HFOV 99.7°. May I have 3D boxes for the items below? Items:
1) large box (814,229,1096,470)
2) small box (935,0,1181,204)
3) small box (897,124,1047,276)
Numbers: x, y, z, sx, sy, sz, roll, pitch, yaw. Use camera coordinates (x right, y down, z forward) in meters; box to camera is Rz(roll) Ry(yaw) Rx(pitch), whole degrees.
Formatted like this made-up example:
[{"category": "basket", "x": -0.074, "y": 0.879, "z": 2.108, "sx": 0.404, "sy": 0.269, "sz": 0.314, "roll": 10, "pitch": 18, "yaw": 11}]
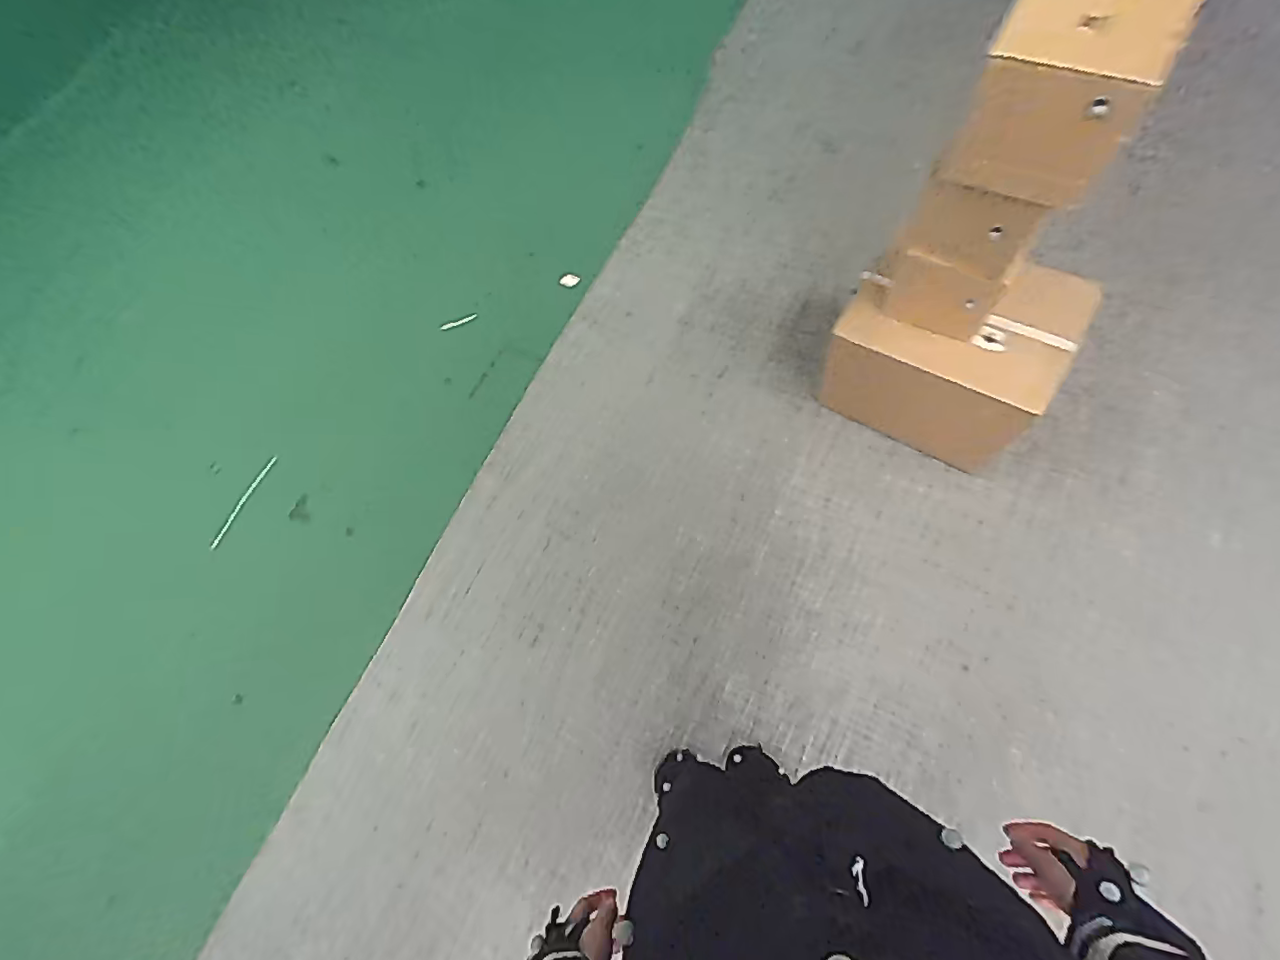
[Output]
[{"category": "large box", "x": 0.654, "y": -0.280, "z": 1.202, "sx": 0.408, "sy": 0.320, "sz": 0.320, "roll": 29, "pitch": 79, "yaw": 19}, {"category": "small box", "x": 0.513, "y": -0.490, "z": 0.691, "sx": 0.179, "sy": 0.176, "sz": 0.168, "roll": 27, "pitch": 76, "yaw": 18}, {"category": "small box", "x": 0.541, "y": -0.455, "z": 0.849, "sx": 0.179, "sy": 0.176, "sz": 0.168, "roll": 33, "pitch": 78, "yaw": 21}]
